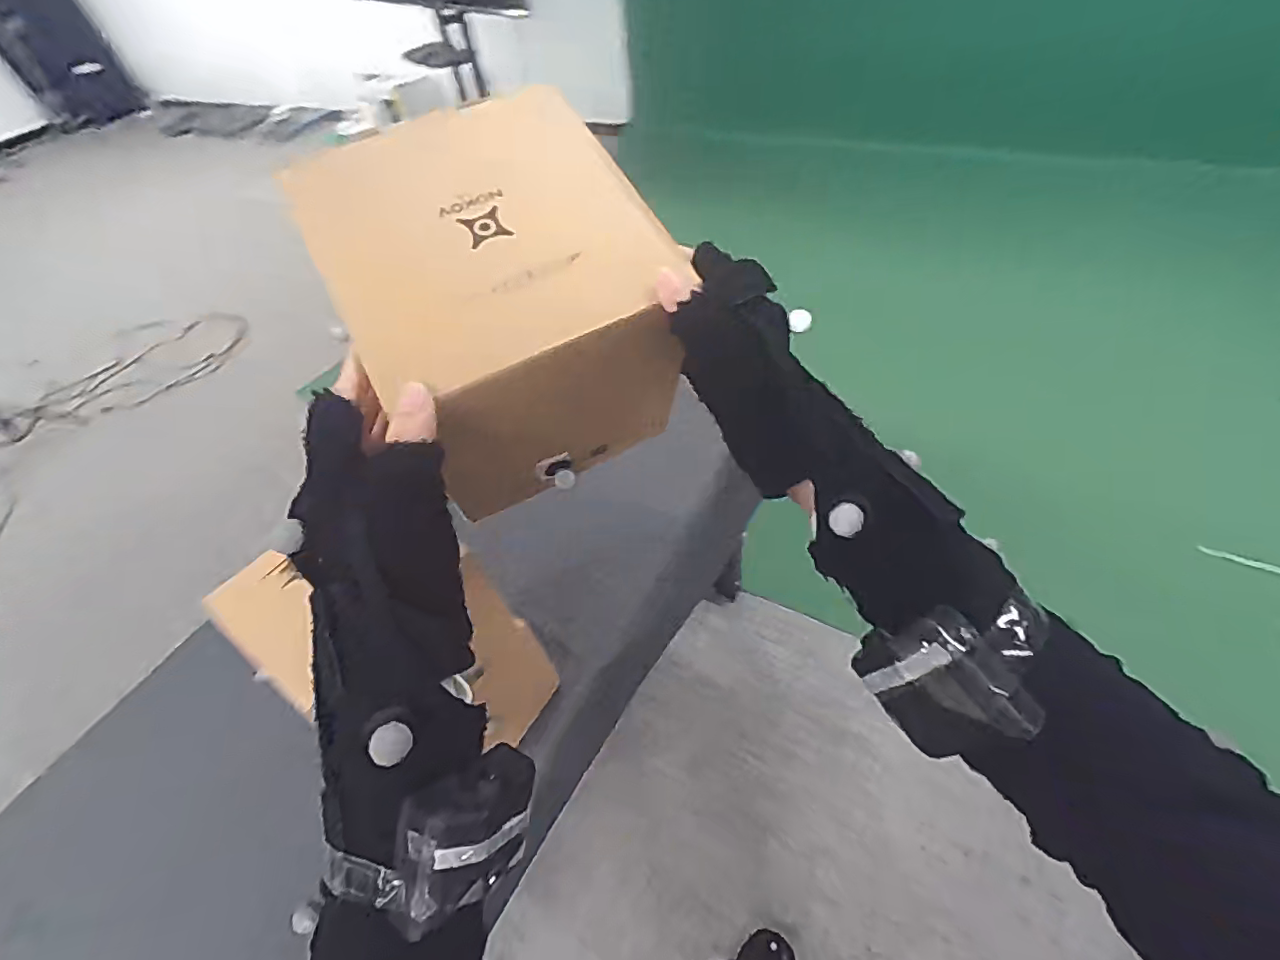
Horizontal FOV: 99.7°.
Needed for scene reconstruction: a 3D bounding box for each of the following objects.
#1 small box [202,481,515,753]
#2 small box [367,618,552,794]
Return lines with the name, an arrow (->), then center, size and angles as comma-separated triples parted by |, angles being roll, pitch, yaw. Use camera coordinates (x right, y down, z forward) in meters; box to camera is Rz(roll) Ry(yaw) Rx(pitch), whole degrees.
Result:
small box -> -0.257, 0.134, 0.530 | 0.179, 0.176, 0.168 | 20, 56, 28
small box -> -0.231, 0.242, 0.651 | 0.168, 0.176, 0.179 | 21, 58, 26
